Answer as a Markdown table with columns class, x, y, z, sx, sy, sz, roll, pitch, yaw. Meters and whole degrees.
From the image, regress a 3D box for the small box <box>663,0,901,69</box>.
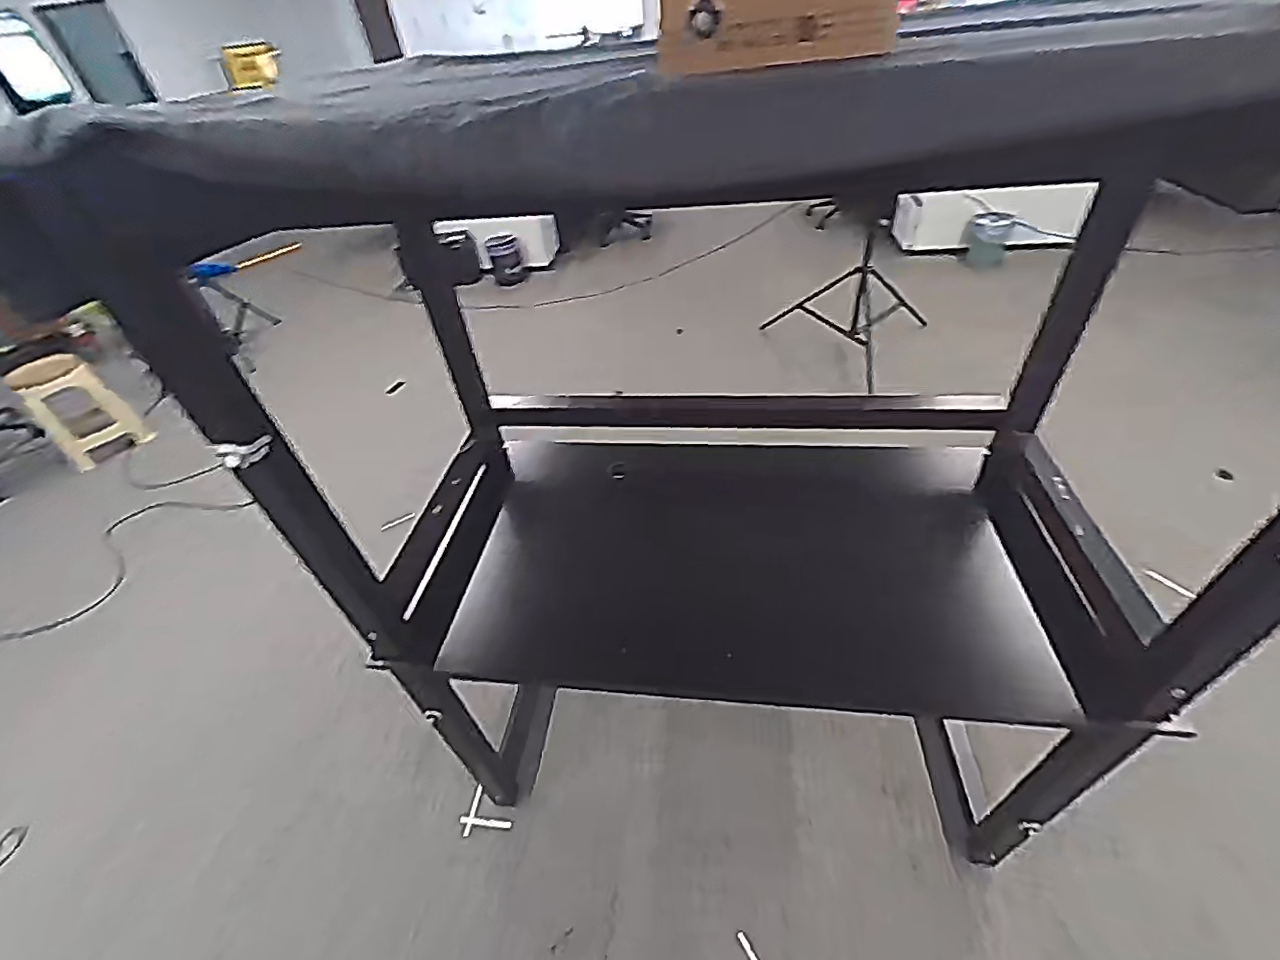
| class | x | y | z | sx | sy | sz | roll | pitch | yaw |
| --- | --- | --- | --- | --- | --- | --- | --- | --- | --- |
| small box | 0.102 | -0.416 | 0.399 | 0.168 | 0.176 | 0.179 | 1 | 40 | 9 |
